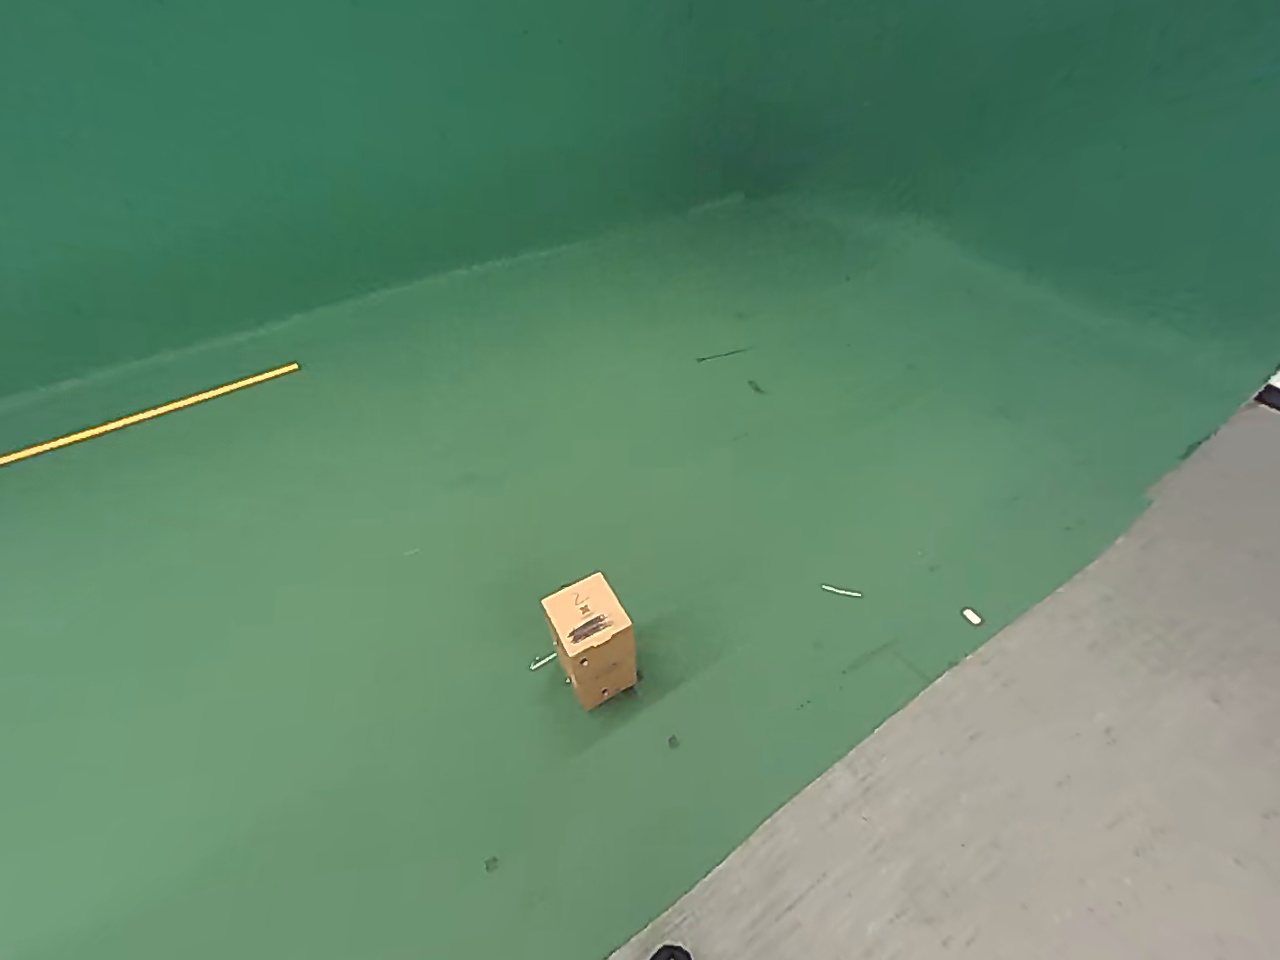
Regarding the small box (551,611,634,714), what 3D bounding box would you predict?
[{"bbox_3d":[-0.127,0.500,1.476,0.168,0.176,0.179,-23,51,-19],"label":"small box"}]
